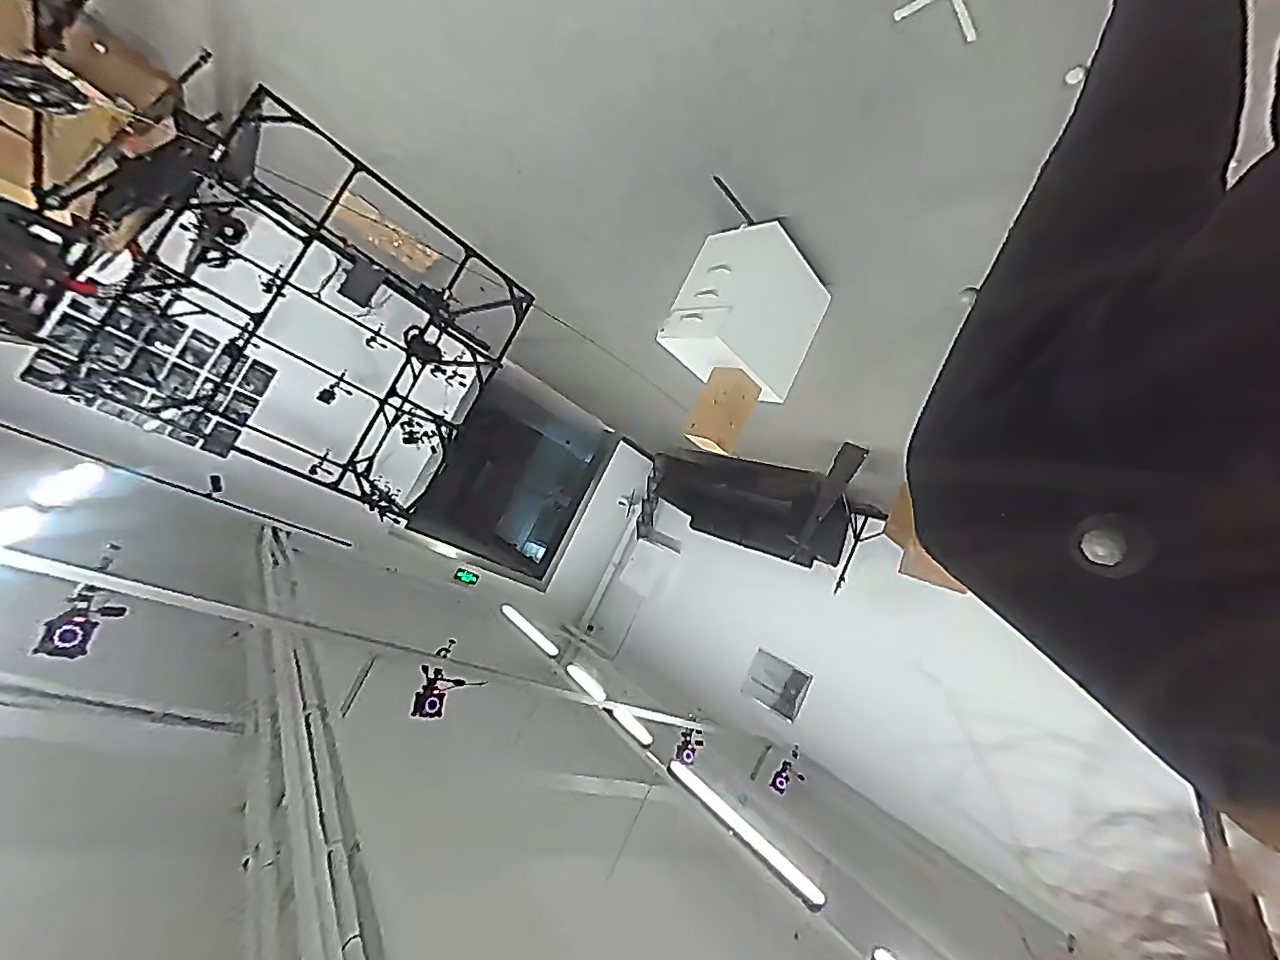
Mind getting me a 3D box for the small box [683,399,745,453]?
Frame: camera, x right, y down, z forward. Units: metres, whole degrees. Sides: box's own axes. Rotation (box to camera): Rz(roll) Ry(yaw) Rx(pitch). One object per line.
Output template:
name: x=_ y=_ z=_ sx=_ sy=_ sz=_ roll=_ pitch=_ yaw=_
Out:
small box: x=0.327 y=-0.239 z=2.365 sx=0.168 sy=0.176 sz=0.179 roll=31 pitch=173 yaw=-41
